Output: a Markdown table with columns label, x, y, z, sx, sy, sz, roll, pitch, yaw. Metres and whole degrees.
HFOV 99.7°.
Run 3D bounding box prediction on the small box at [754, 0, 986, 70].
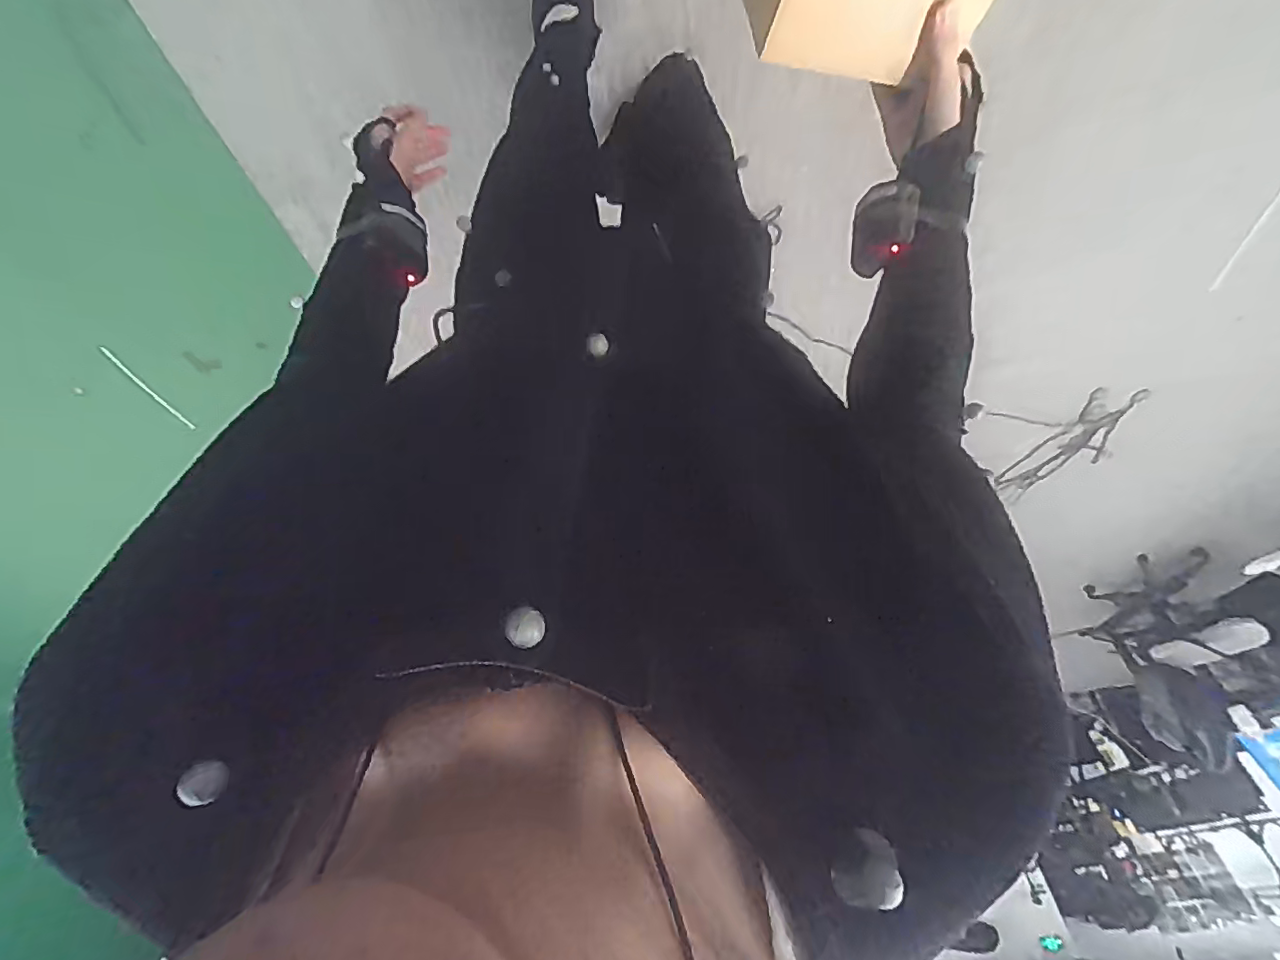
| label | x | y | z | sx | sy | sz | roll | pitch | yaw |
| --- | --- | --- | --- | --- | --- | --- | --- | --- | --- |
| small box | 0.183 | -0.451 | 0.390 | 0.168 | 0.176 | 0.179 | 0 | 157 | -11 |
